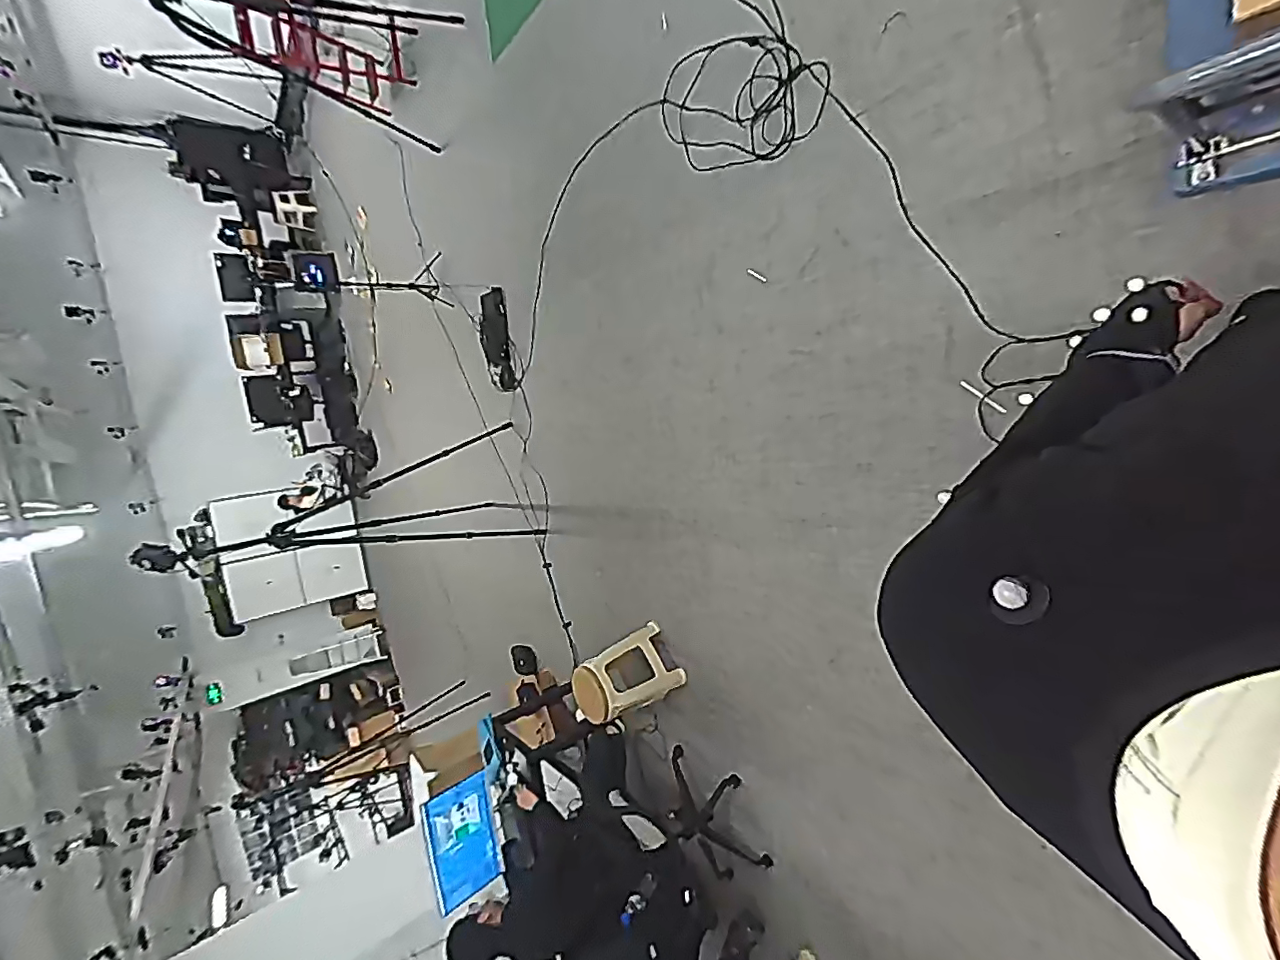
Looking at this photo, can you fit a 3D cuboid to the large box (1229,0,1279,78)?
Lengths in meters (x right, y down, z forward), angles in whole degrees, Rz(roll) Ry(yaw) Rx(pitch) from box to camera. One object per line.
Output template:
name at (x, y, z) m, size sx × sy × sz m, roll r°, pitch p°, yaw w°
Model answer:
large box at (1.001, -0.839, 0.682) m, size 0.320 × 0.320 × 0.408 m, roll 6°, pitch 104°, yaw 50°
